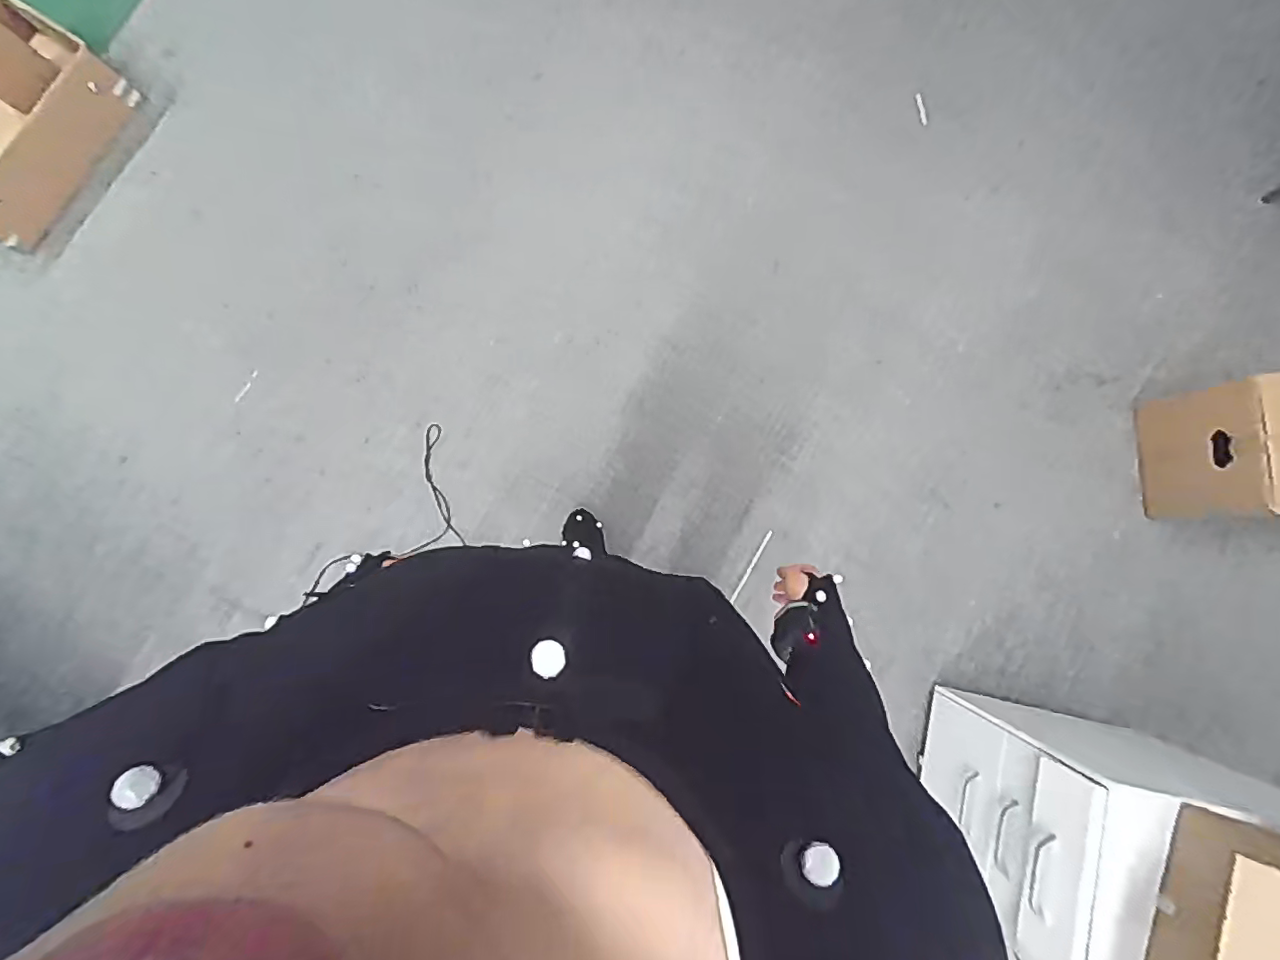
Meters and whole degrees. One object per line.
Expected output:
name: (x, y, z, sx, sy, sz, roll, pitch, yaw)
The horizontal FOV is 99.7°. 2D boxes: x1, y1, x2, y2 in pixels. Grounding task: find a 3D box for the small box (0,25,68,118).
small box: (-1.793, -1.168, 1.510, 0.179, 0.176, 0.168, 39, 87, 2)
